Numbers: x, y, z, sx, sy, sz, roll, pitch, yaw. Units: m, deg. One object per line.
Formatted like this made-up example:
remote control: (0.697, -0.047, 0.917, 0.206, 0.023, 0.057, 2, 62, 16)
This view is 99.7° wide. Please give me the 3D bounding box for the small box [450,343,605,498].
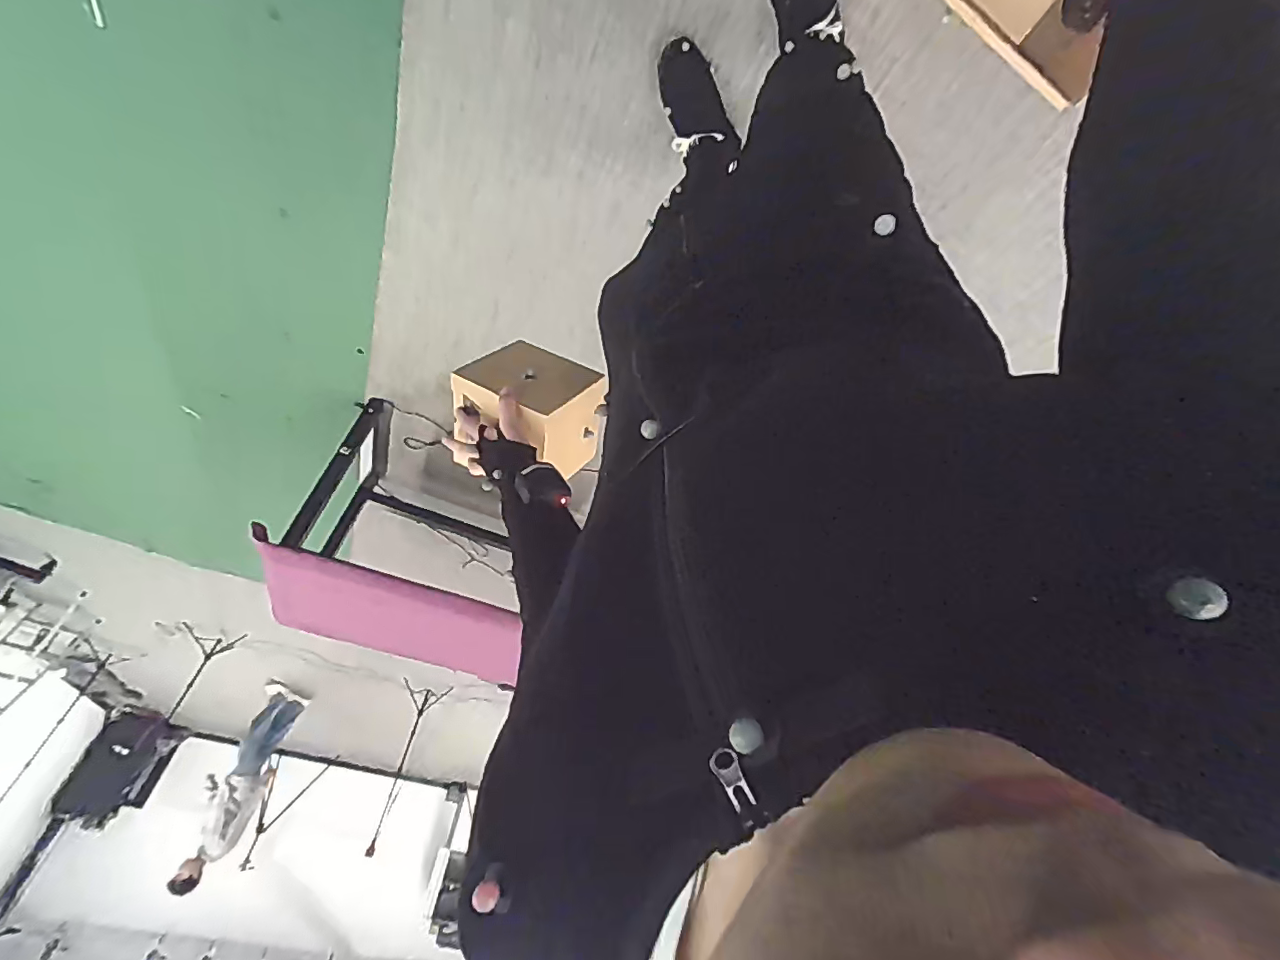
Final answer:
small box: (-0.181, -0.106, 0.877, 0.179, 0.176, 0.168, 24, 130, 15)
